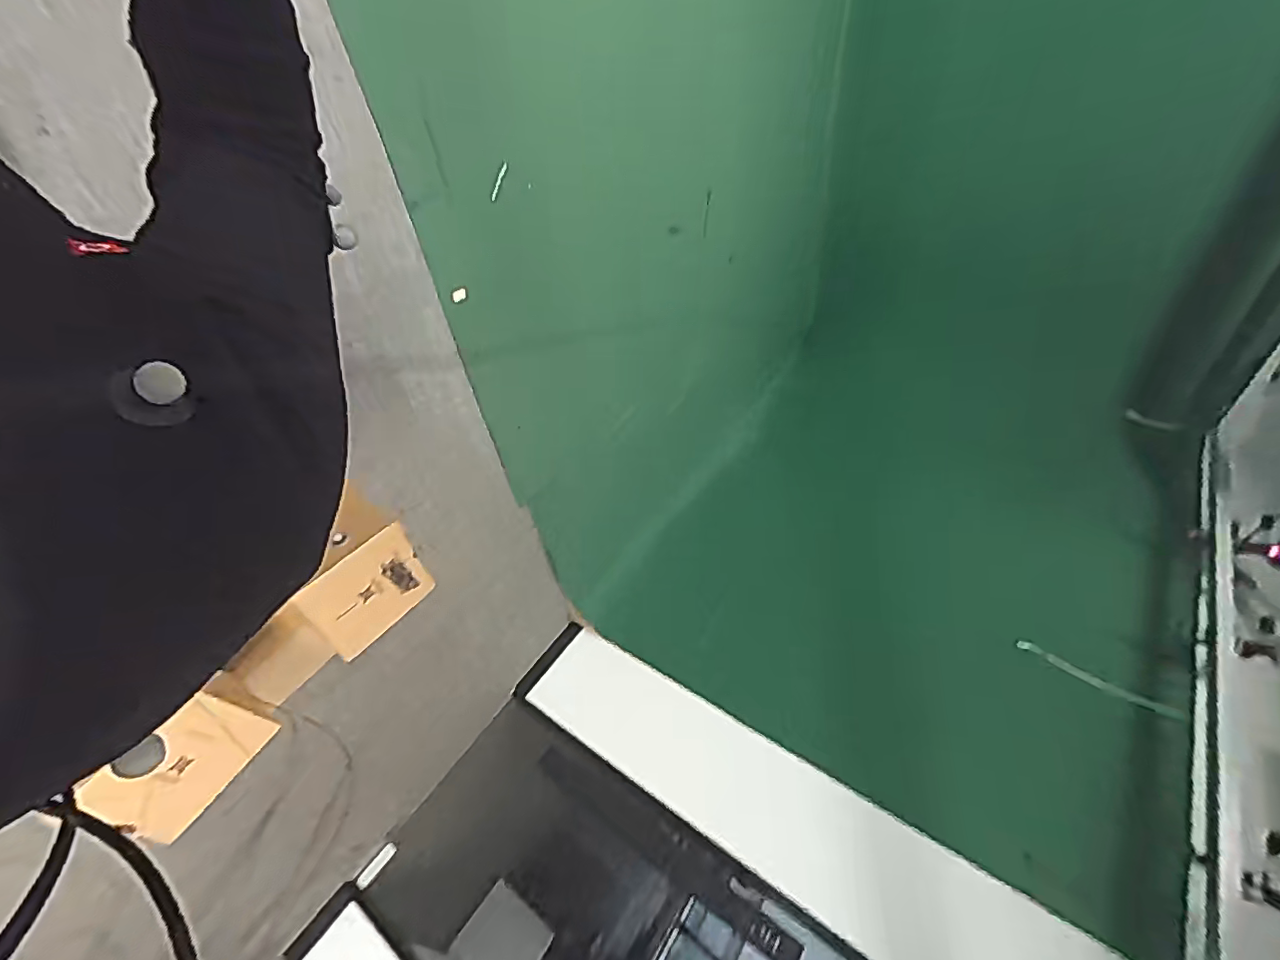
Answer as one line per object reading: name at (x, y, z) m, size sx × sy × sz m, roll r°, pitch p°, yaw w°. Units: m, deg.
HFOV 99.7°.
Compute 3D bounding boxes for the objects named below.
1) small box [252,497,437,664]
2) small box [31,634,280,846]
small box at (-0.475, 0.153, 0.880) m, size 0.179 × 0.176 × 0.168 m, roll -44°, pitch 139°, yaw -34°
small box at (-0.649, 0.344, 0.730) m, size 0.179 × 0.176 × 0.168 m, roll -53°, pitch 145°, yaw -26°
